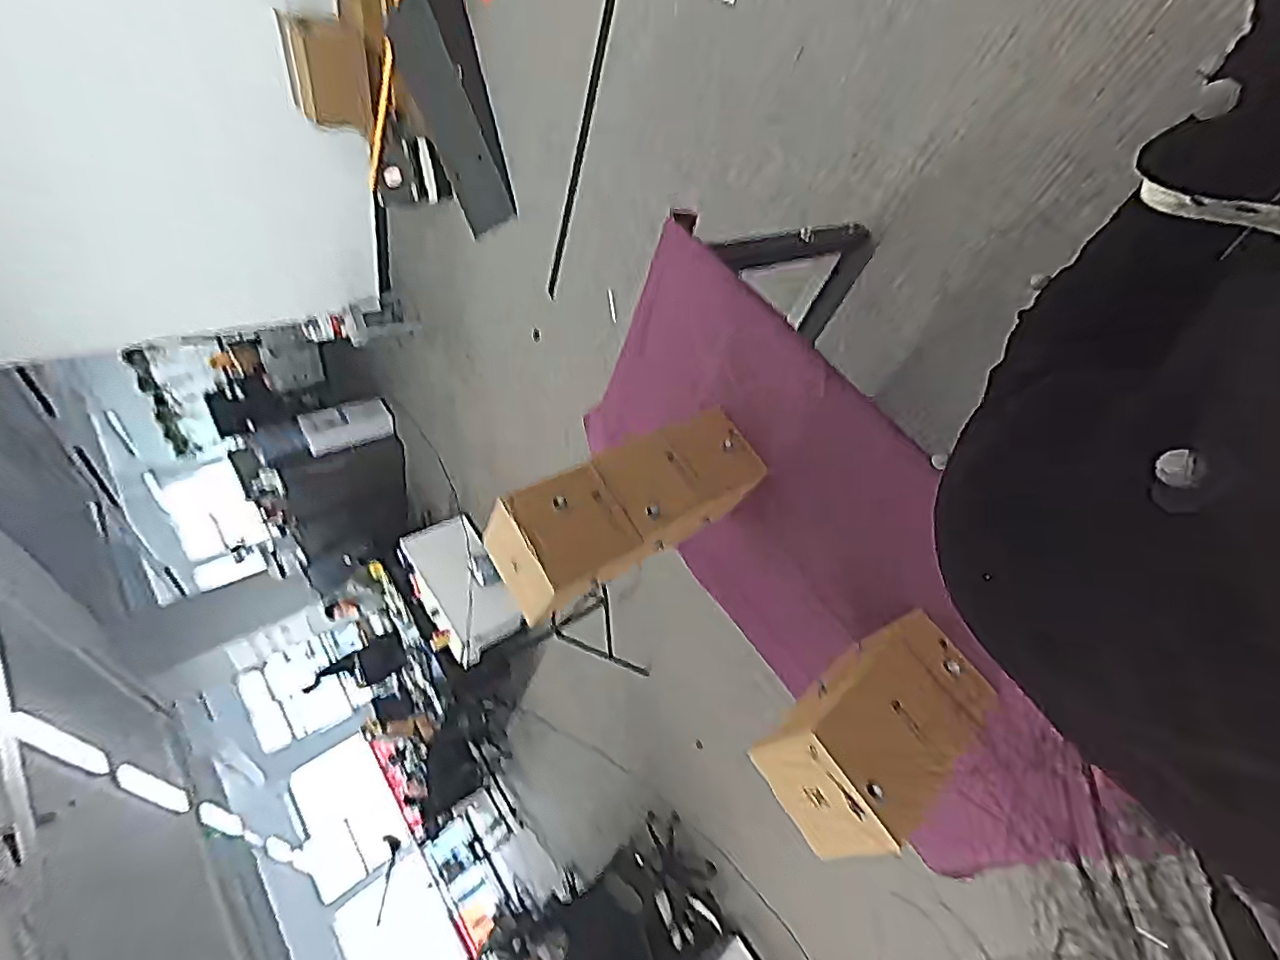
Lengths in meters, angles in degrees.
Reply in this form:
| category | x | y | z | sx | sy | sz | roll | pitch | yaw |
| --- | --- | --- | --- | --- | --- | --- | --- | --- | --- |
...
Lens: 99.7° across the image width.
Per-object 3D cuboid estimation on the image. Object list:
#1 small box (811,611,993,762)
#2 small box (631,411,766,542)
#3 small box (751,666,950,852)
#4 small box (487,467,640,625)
| category | x | y | z | sx | sy | sz | roll | pitch | yaw |
| --- | --- | --- | --- | --- | --- | --- | --- | --- | --- |
| small box | 0.425 | 0.345 | 0.882 | 0.168 | 0.176 | 0.179 | 52 | 142 | 19 |
| small box | 0.115 | -0.009 | 1.072 | 0.168 | 0.176 | 0.179 | 54 | 144 | 15 |
| small box | 0.303 | 0.403 | 0.788 | 0.168 | 0.176 | 0.179 | 52 | 144 | 18 |
| small box | -0.124 | 0.104 | 0.881 | 0.168 | 0.176 | 0.179 | 56 | 146 | 14 |
